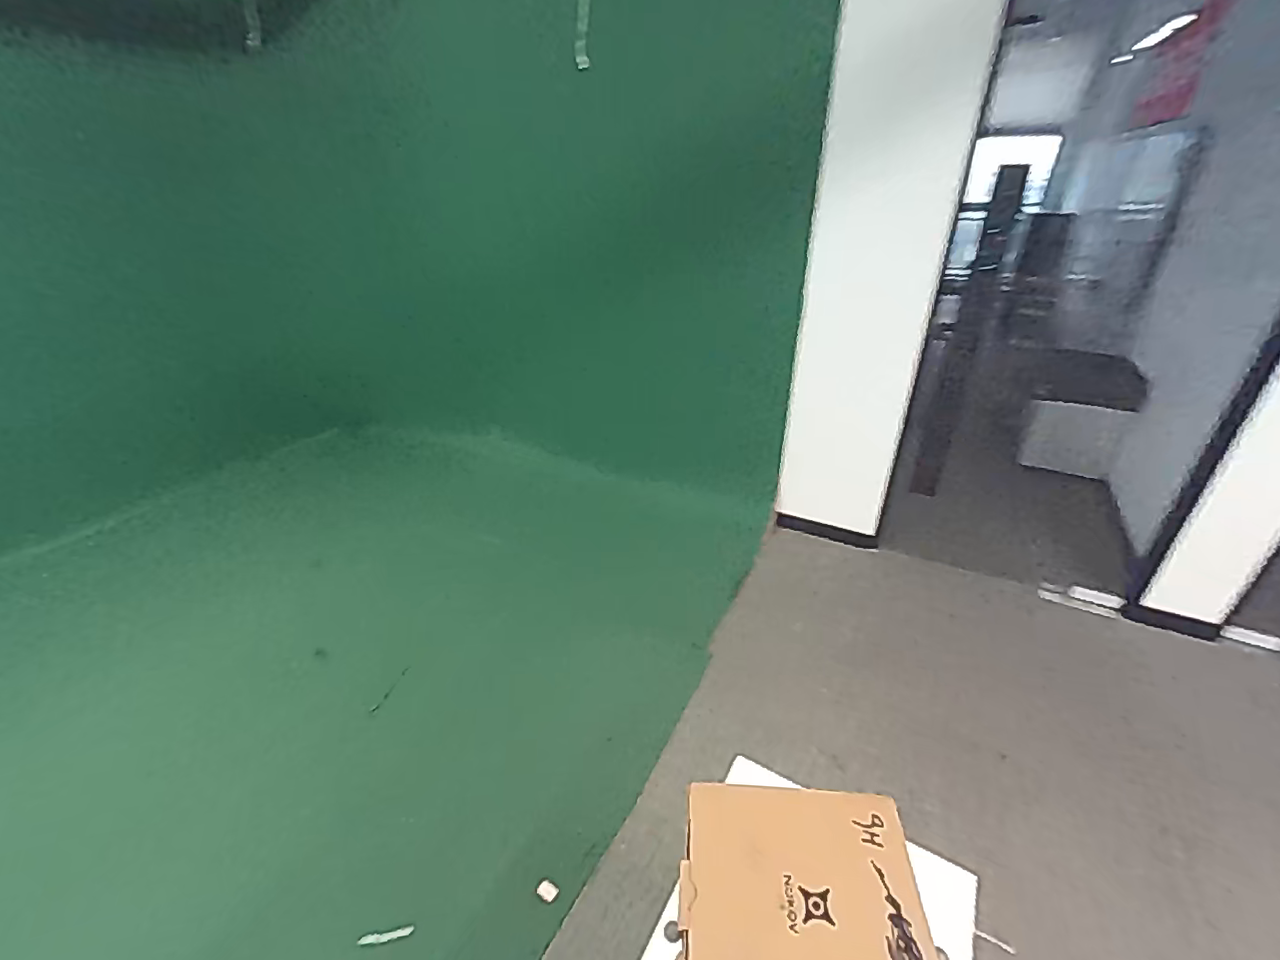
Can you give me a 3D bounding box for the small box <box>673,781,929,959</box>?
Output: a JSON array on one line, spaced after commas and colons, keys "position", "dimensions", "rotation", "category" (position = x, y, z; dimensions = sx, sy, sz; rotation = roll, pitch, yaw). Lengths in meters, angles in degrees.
[{"position": [0.118, 0.378, 0.445], "dimensions": [0.179, 0.176, 0.168], "rotation": [1, 34, 5], "category": "small box"}]
